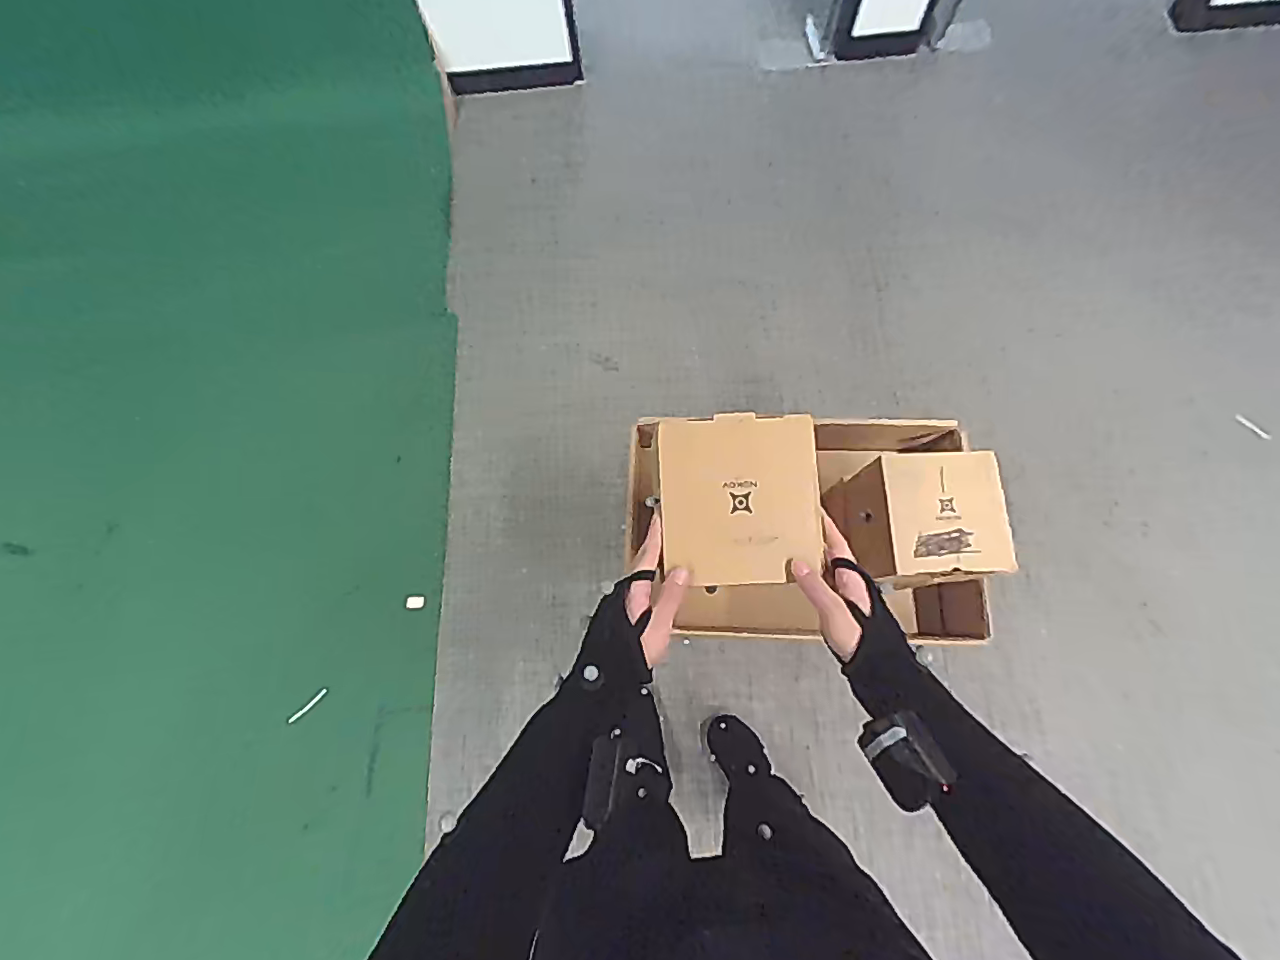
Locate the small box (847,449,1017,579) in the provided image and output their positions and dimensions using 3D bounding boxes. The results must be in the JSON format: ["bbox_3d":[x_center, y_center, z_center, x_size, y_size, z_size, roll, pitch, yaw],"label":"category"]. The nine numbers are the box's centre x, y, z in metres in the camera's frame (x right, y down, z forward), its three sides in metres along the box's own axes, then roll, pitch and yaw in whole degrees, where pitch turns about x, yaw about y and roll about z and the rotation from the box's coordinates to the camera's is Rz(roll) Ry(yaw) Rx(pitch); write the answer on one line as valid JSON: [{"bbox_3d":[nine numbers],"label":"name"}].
[{"bbox_3d":[0.434,0.060,0.833,0.168,0.176,0.179,-1,75,2],"label":"small box"}]

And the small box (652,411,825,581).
[{"bbox_3d":[0.101,0.026,0.630,0.168,0.176,0.179,-1,82,-1],"label":"small box"}]
